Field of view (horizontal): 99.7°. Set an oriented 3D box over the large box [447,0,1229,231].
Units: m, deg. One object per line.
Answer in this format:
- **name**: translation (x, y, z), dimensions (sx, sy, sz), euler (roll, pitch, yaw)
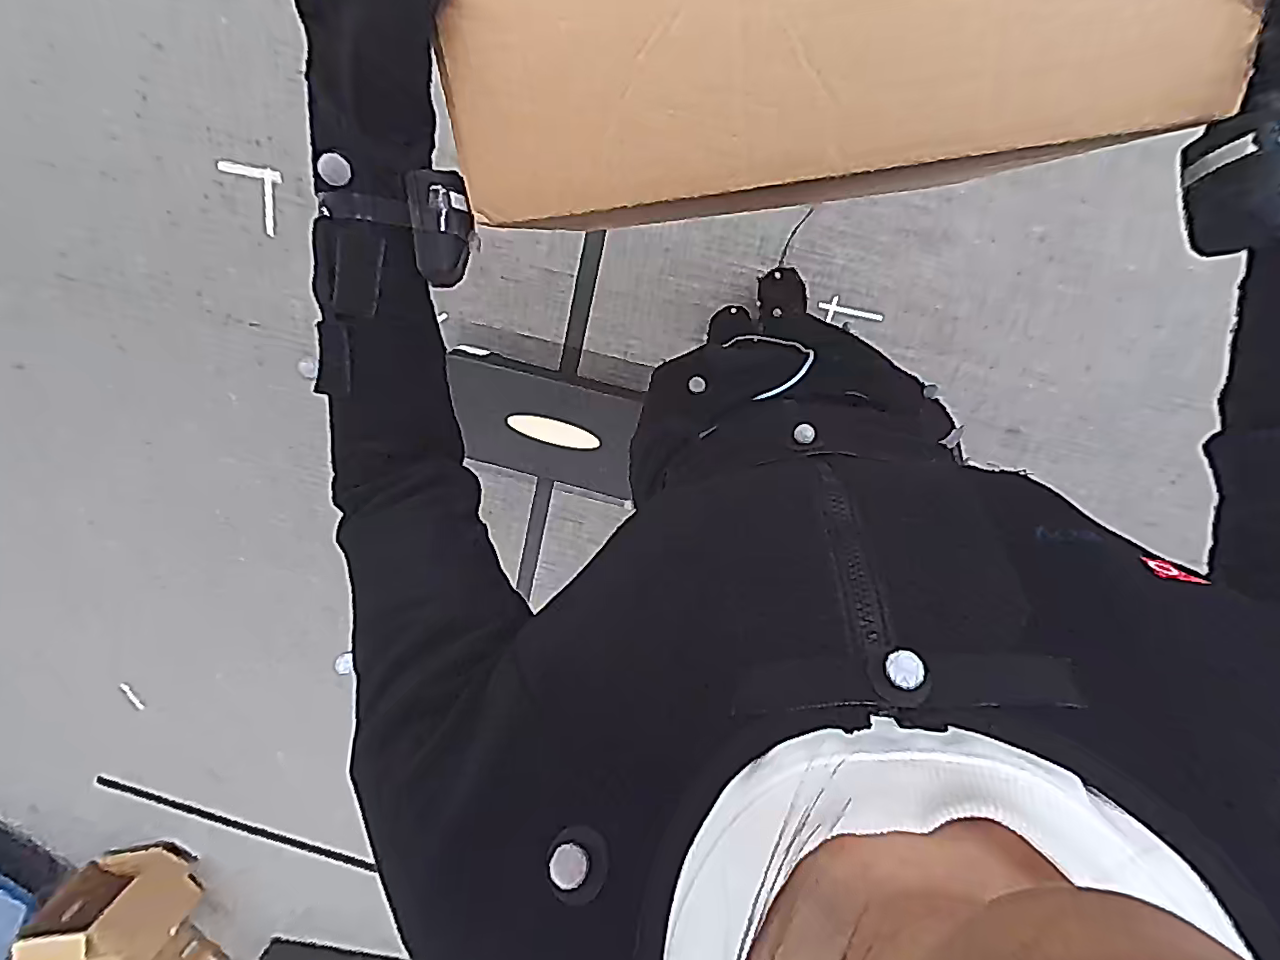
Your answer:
- **large box**: translation (0.096, -0.381, 0.391), dimensions (0.408, 0.320, 0.320), euler (-4, 114, 8)
